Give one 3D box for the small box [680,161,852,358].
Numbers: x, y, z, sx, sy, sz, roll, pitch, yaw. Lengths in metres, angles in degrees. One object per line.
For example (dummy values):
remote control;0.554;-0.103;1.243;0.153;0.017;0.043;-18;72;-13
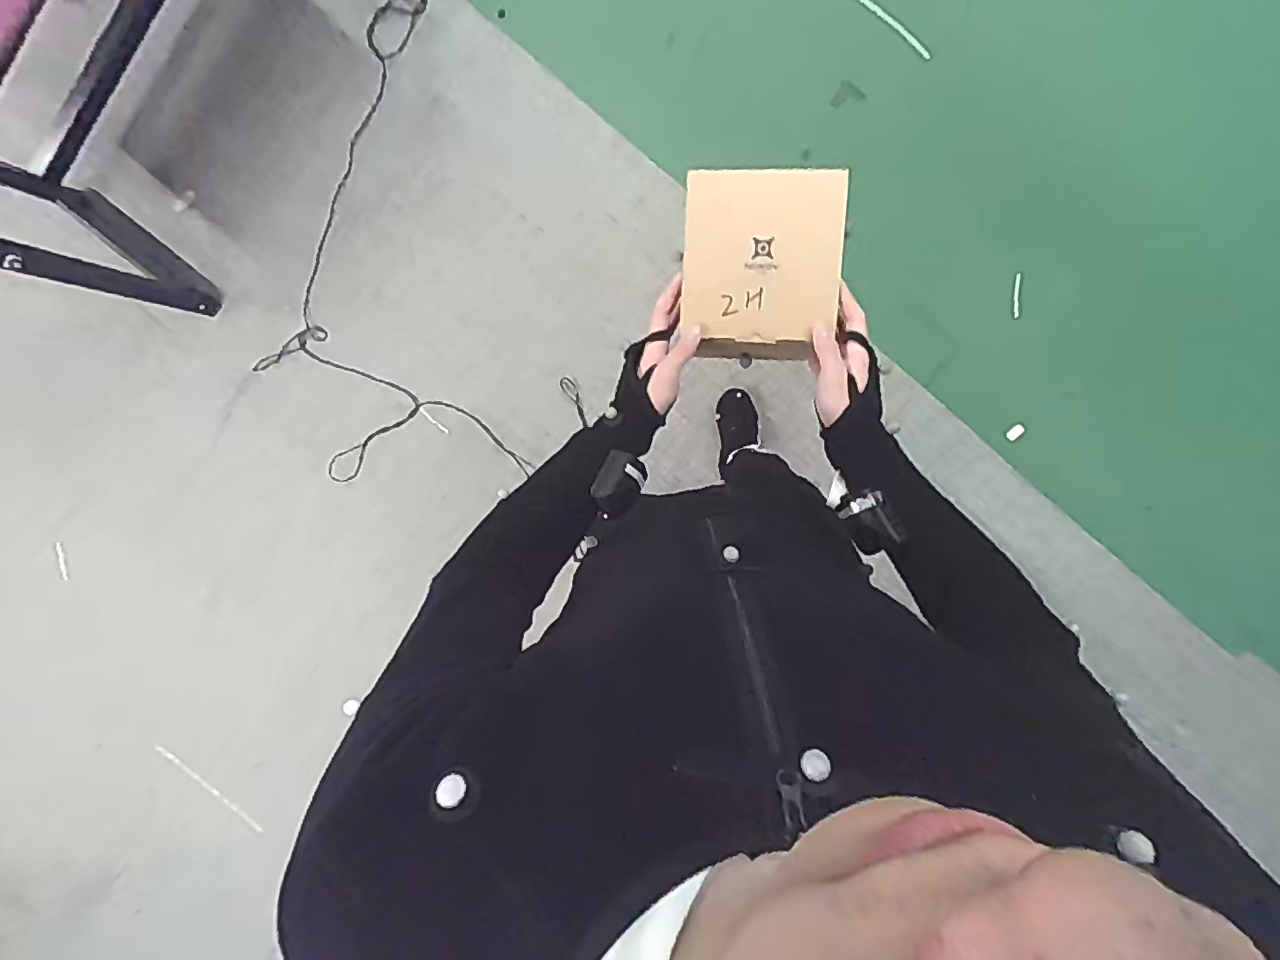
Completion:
small box;0.136;-0.245;0.635;0.168;0.176;0.179;3;97;6
